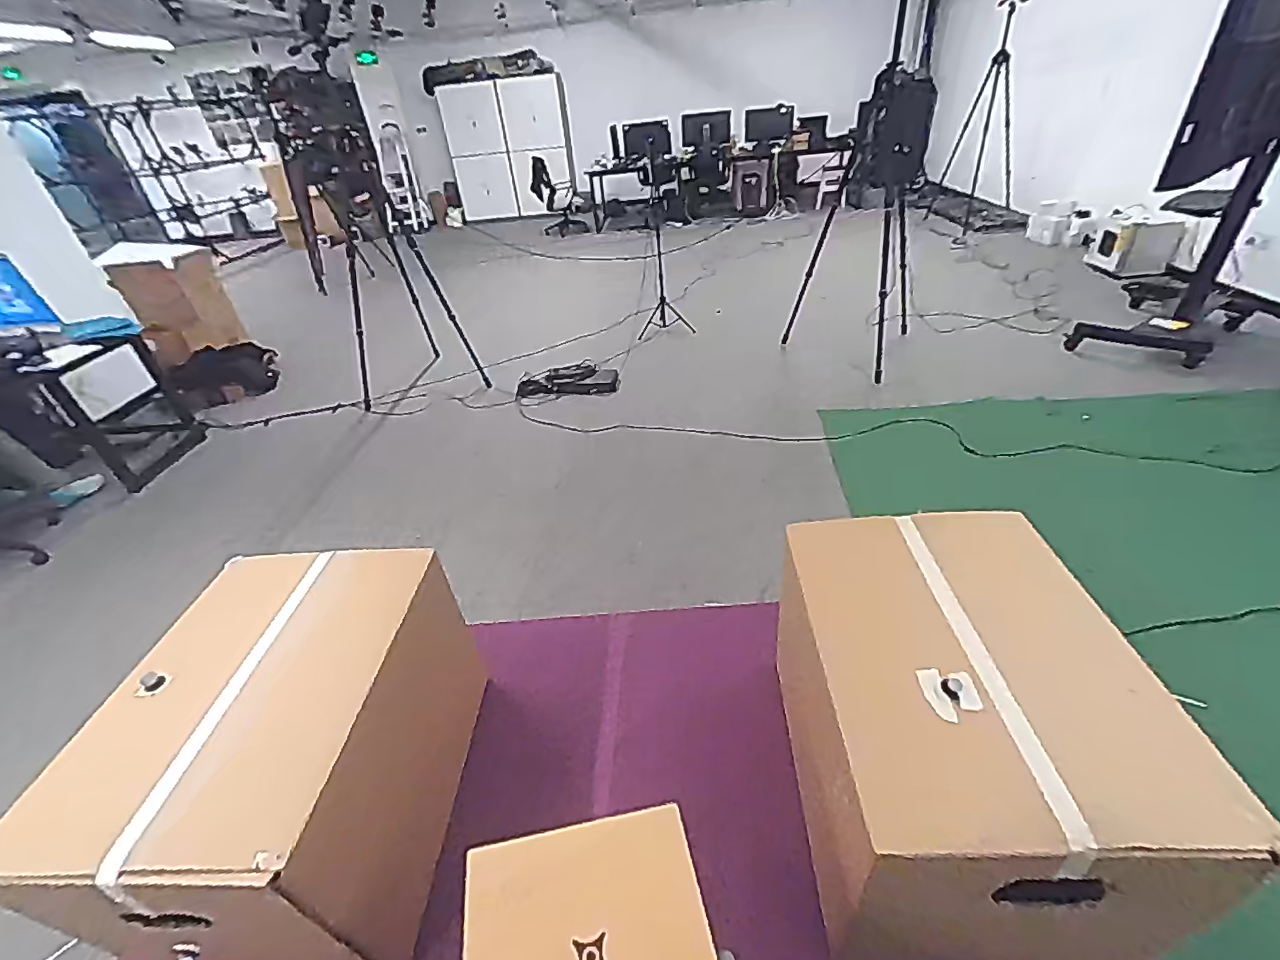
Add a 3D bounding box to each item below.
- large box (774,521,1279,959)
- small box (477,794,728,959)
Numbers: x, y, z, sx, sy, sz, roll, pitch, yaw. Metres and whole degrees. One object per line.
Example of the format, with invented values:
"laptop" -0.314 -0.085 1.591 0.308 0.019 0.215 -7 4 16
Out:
"large box" 0.365 0.297 0.676 0.320 0.320 0.408 -3 37 5
"small box" -0.029 0.378 0.405 0.168 0.176 0.179 -6 35 -11
